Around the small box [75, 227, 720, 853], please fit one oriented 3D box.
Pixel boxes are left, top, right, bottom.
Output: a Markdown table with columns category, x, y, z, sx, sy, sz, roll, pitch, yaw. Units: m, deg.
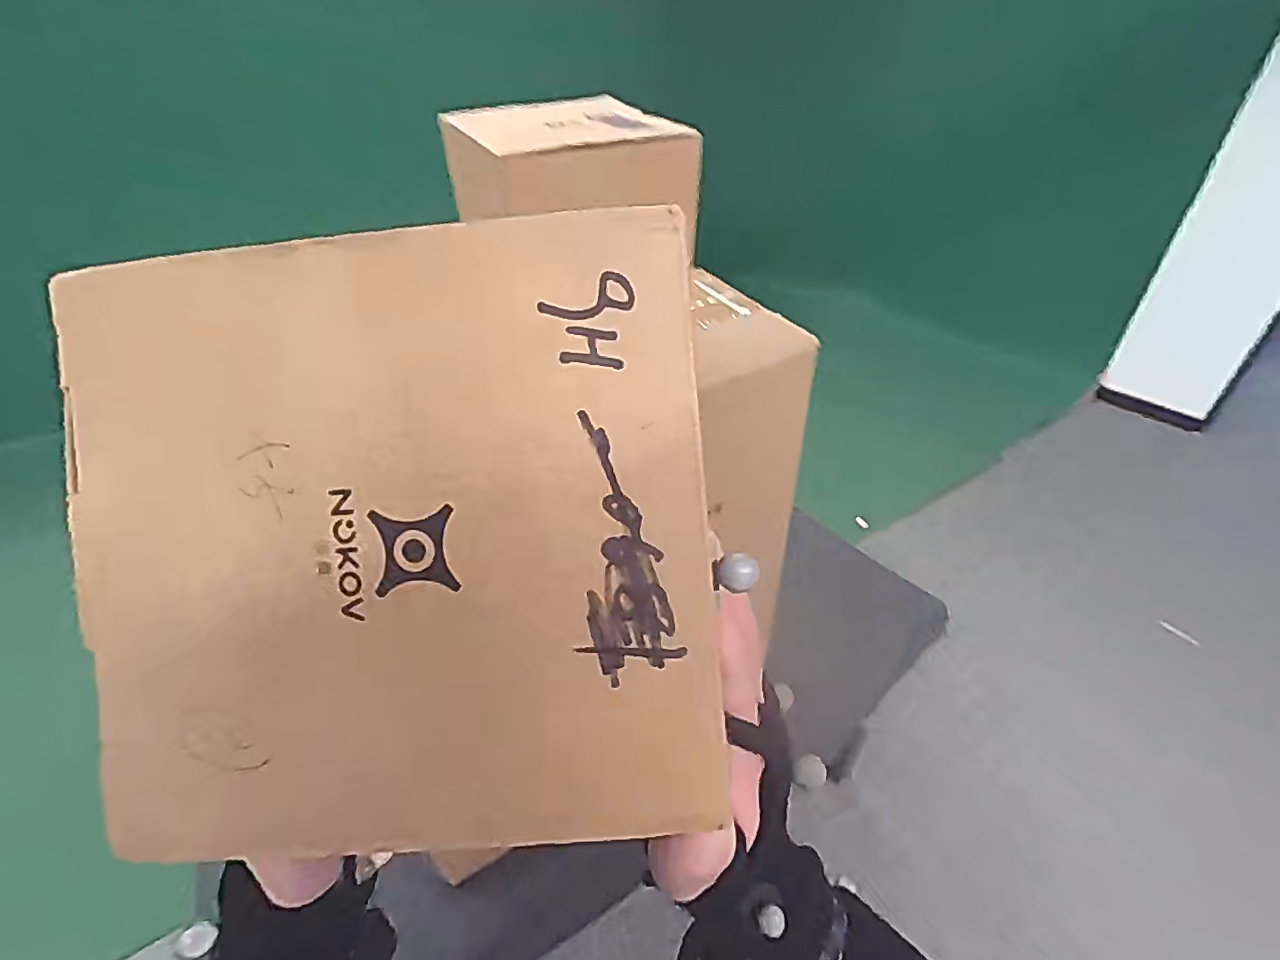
| category | x | y | z | sx | sy | sz | roll | pitch | yaw |
| --- | --- | --- | --- | --- | --- | --- | --- | --- | --- |
| small box | -0.062 | 0.017 | 0.228 | 0.179 | 0.168 | 0.176 | -4 | 3 | 5 |

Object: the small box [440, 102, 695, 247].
| category | x | y | z | sx | sy | sz | roll | pitch | yaw |
| --- | --- | --- | --- | --- | --- | --- | --- | --- | --- |
| small box | -0.069 | -0.243 | 0.521 | 0.179 | 0.176 | 0.168 | -21 | 48 | -21 |
